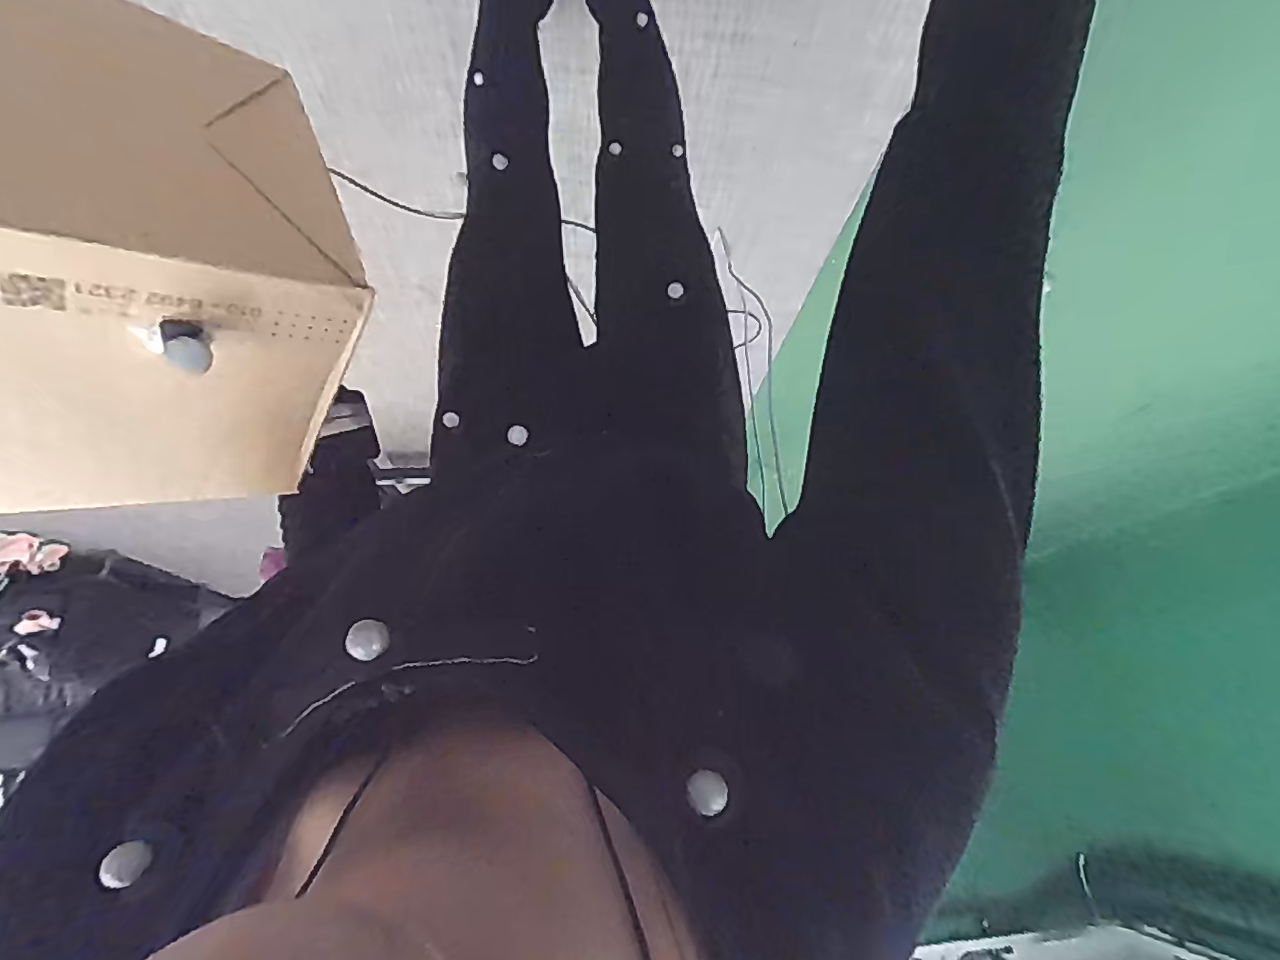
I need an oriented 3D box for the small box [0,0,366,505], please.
[{"bbox_3d":[-0.250,-0.107,0.246,0.168,0.179,0.176,-5,150,-48],"label":"small box"}]
